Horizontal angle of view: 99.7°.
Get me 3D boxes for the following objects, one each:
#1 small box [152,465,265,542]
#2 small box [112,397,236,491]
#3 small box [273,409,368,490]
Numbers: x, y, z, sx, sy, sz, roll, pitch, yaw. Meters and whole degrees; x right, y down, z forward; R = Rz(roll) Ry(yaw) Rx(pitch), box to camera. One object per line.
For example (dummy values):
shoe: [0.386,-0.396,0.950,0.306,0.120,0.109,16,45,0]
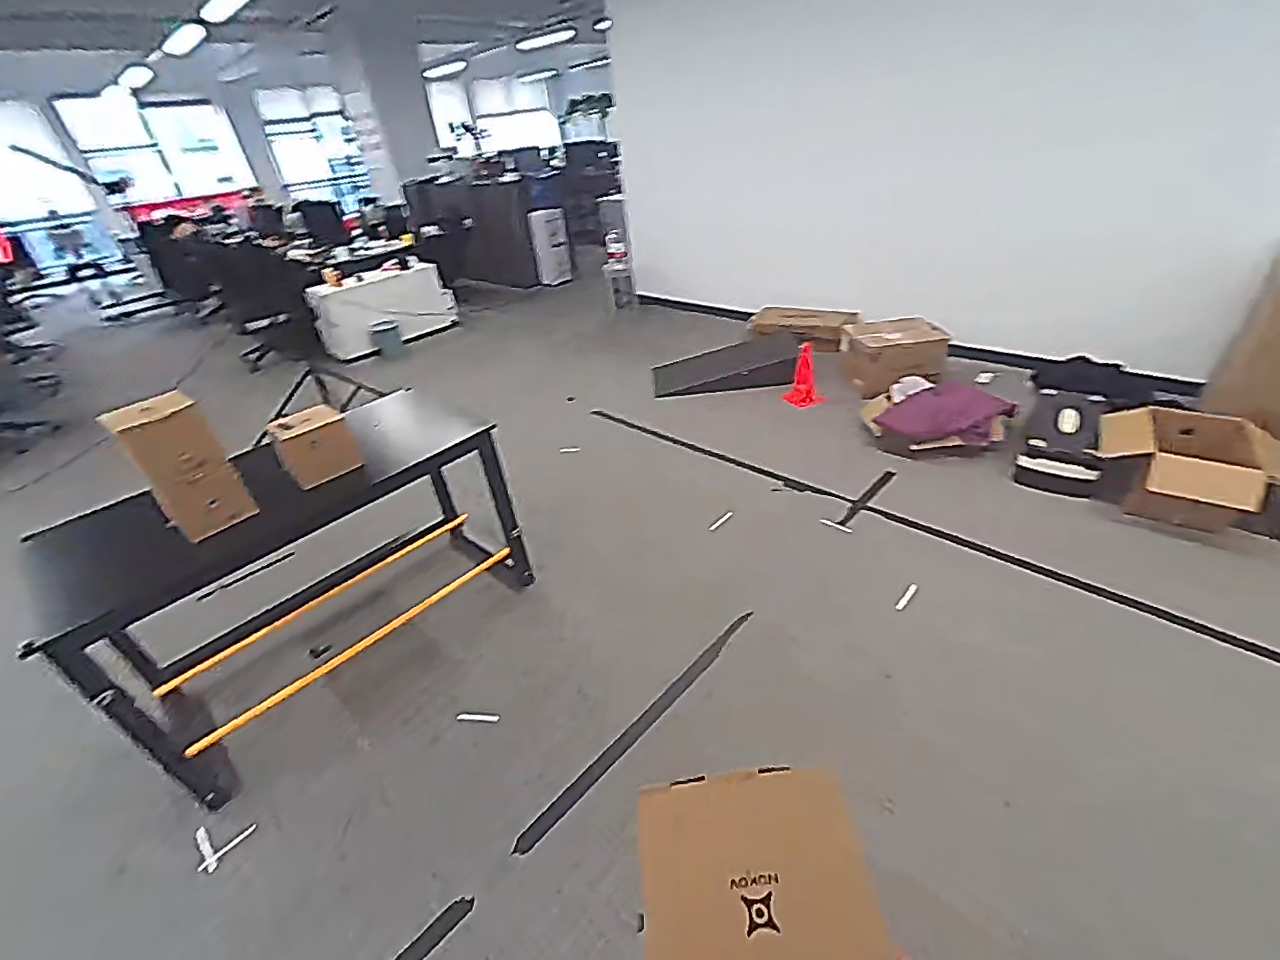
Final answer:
small box: [-1.176,0.046,1.483,0.179,0.176,0.168,20,42,35]
small box: [-1.196,-0.094,1.396,0.179,0.176,0.168,19,42,34]
small box: [-0.972,-0.093,1.654,0.168,0.176,0.179,24,44,39]
